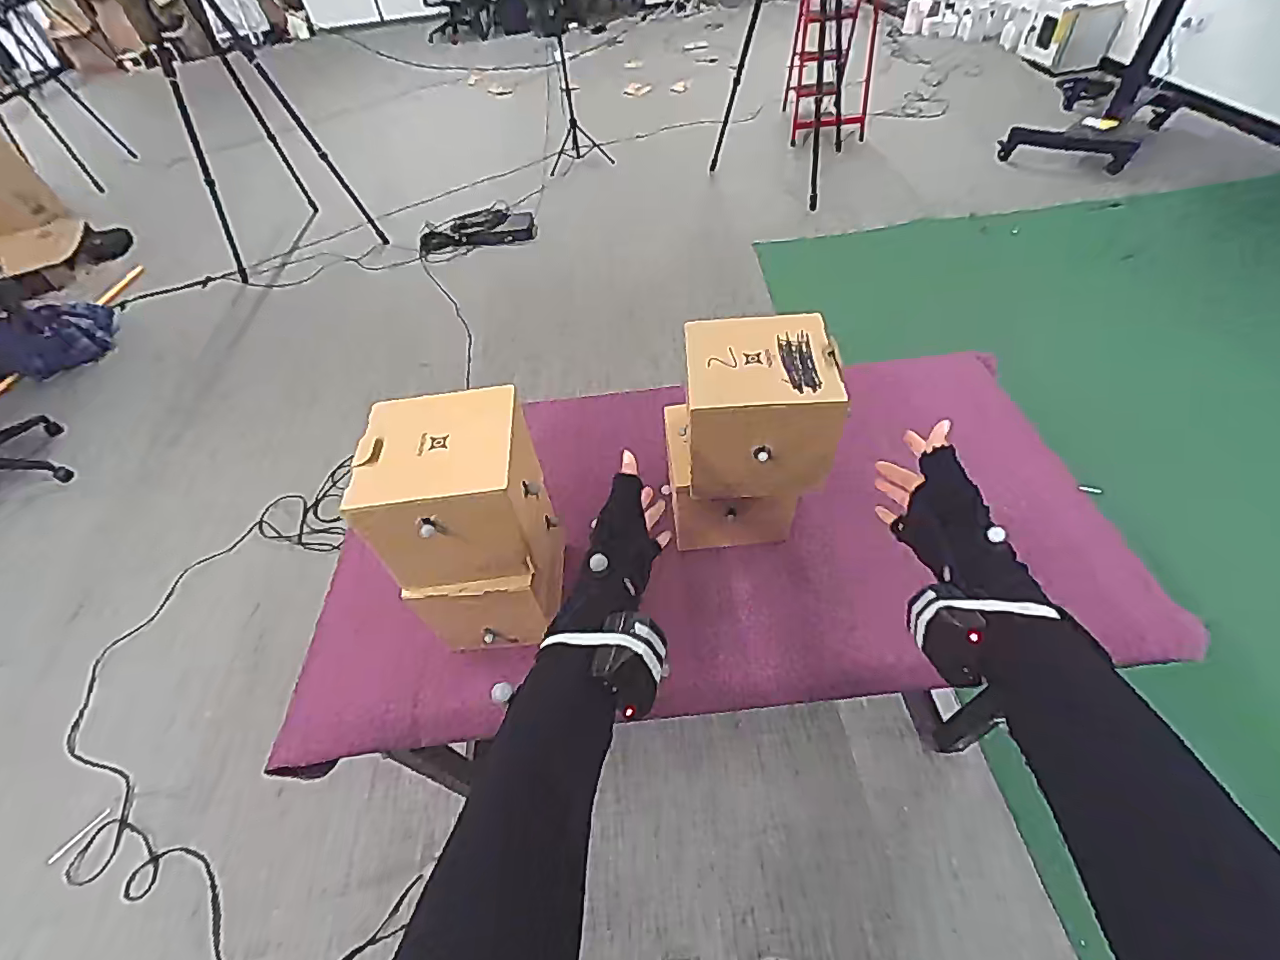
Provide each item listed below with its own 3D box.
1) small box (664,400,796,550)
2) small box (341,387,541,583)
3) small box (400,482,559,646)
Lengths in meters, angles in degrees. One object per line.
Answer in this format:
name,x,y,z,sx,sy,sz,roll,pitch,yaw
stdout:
small box,0.131,-0.004,0.855,0.179,0.176,0.168,-5,51,2
small box,-0.222,0.010,0.663,0.179,0.176,0.168,-7,51,0
small box,-0.214,0.121,0.782,0.168,0.176,0.179,-4,51,2
